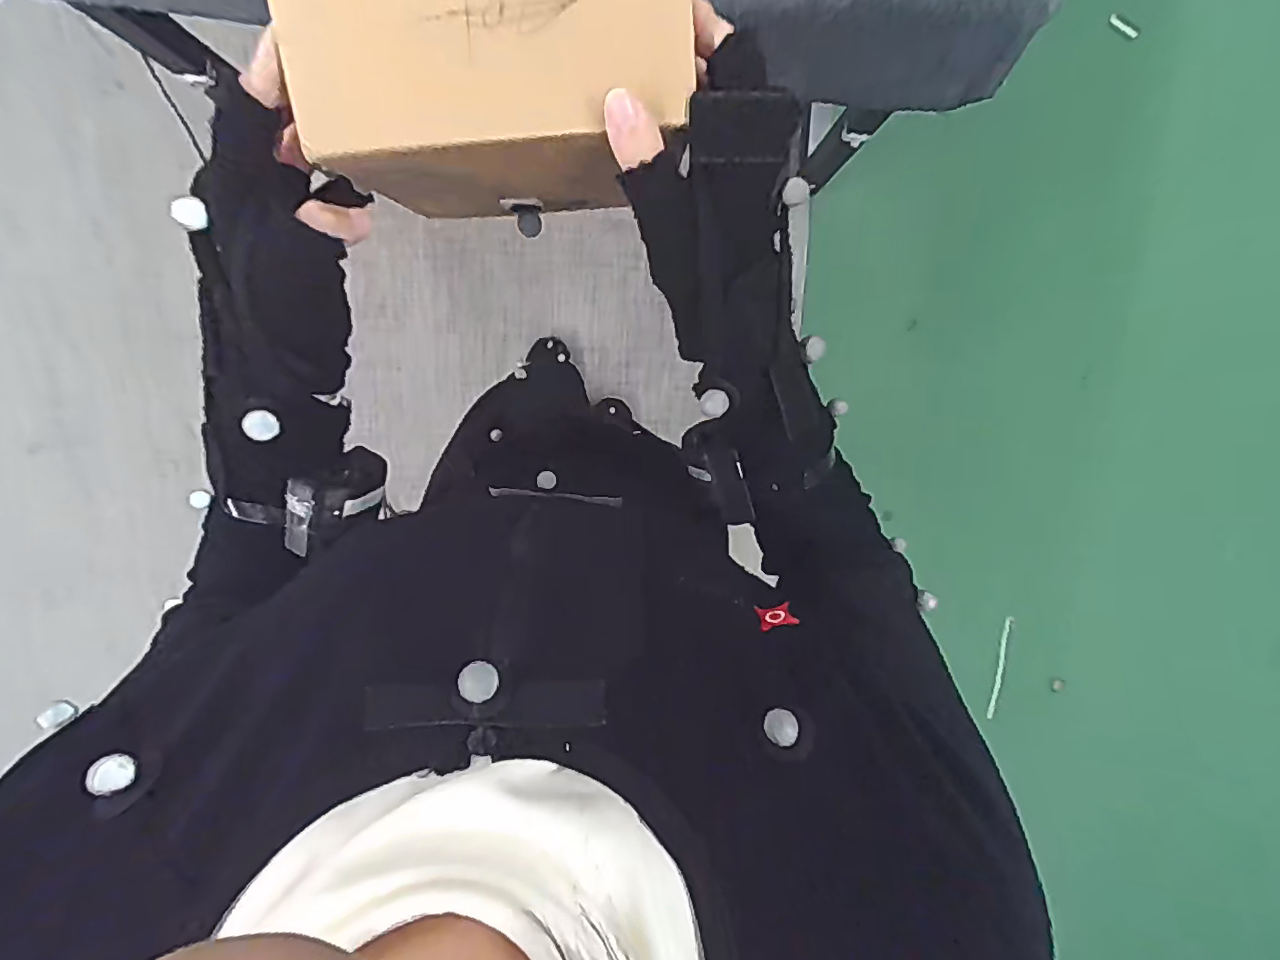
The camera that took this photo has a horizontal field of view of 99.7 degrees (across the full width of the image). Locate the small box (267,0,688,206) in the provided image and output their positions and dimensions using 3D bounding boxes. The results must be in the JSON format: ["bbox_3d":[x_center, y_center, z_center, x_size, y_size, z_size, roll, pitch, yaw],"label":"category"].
[{"bbox_3d":[-0.068,-0.255,0.275,0.168,0.176,0.179,-4,107,0],"label":"small box"}]
